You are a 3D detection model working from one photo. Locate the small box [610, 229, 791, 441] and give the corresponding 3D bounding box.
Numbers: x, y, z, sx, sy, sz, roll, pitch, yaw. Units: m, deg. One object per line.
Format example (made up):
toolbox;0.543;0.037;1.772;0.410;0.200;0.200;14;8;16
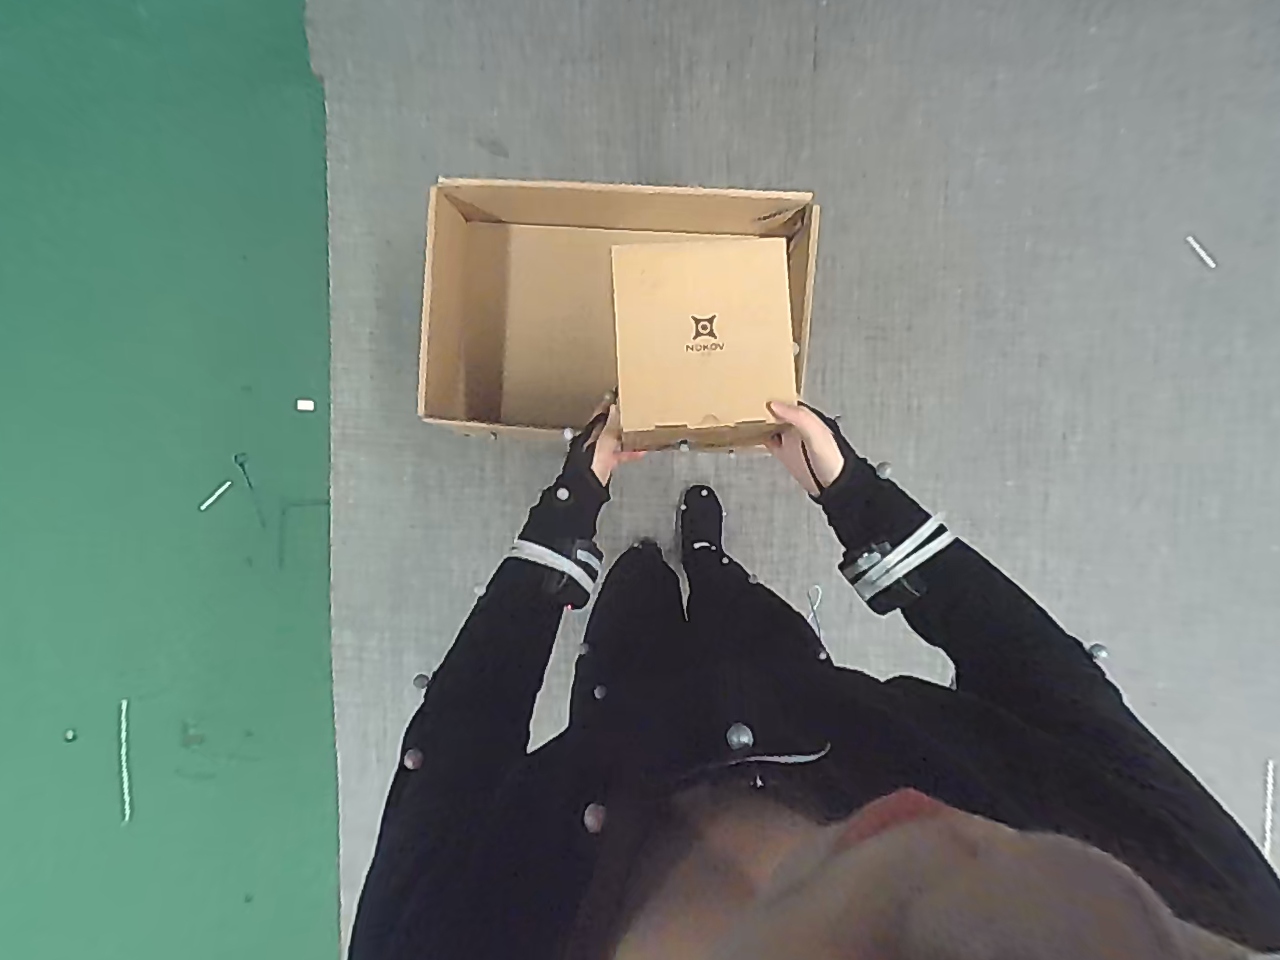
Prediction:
small box;0.053;-0.143;0.583;0.168;0.176;0.179;-3;87;-1
